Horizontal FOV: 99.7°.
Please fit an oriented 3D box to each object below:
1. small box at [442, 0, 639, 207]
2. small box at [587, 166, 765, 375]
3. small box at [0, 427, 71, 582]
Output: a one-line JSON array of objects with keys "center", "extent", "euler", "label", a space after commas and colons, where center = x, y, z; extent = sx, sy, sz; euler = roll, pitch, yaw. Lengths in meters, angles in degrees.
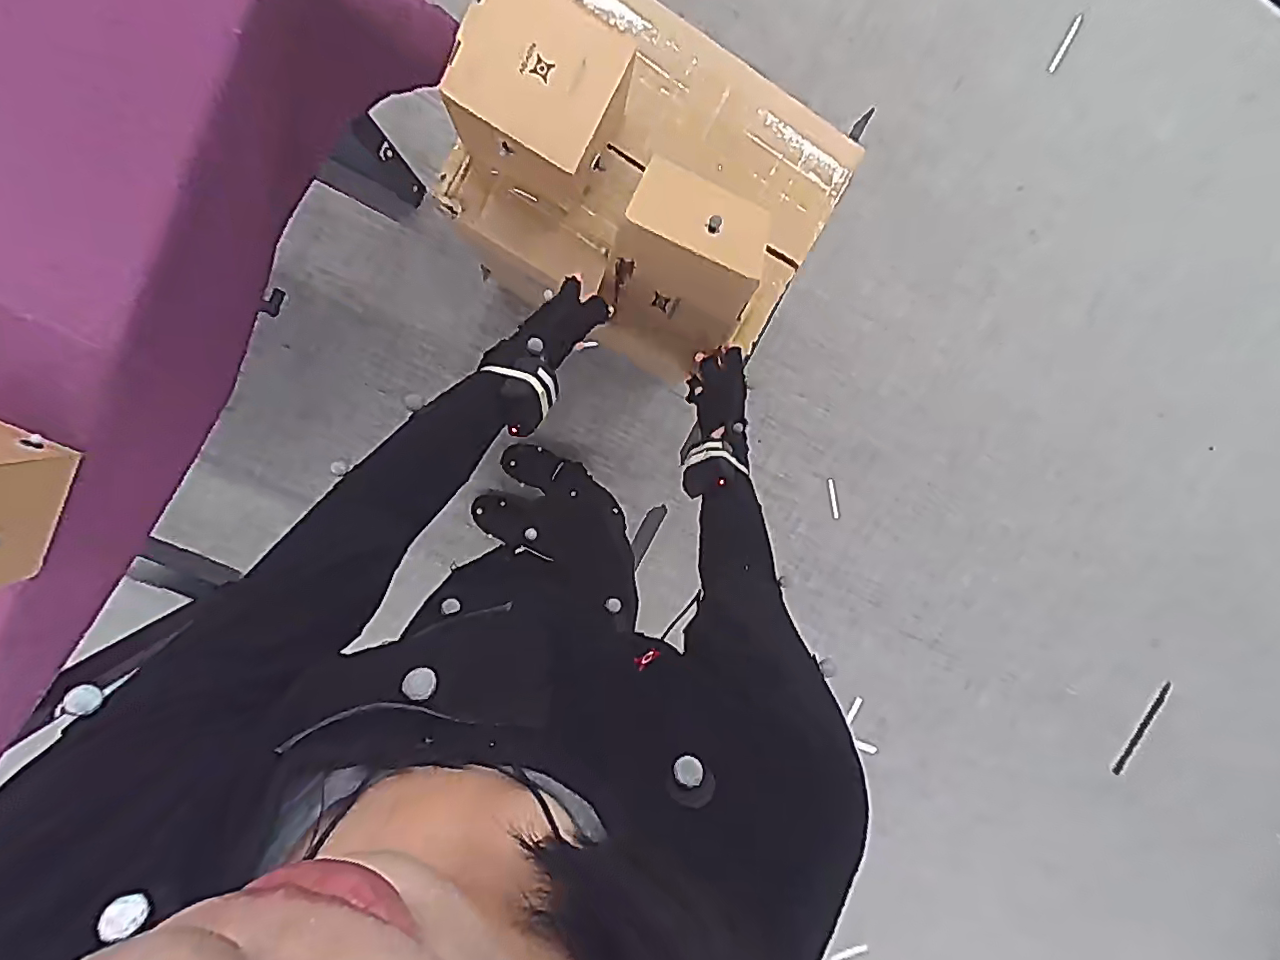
[{"center": [-0.122, -0.487, 0.698], "extent": [0.179, 0.176, 0.168], "euler": [27, 97, -11], "label": "small box"}, {"center": [0.051, -0.278, 0.719], "extent": [0.179, 0.168, 0.176], "euler": [21, 53, -9], "label": "small box"}, {"center": [-0.799, 0.021, 0.590], "extent": [0.168, 0.176, 0.179], "euler": [25, 96, -9], "label": "small box"}]
